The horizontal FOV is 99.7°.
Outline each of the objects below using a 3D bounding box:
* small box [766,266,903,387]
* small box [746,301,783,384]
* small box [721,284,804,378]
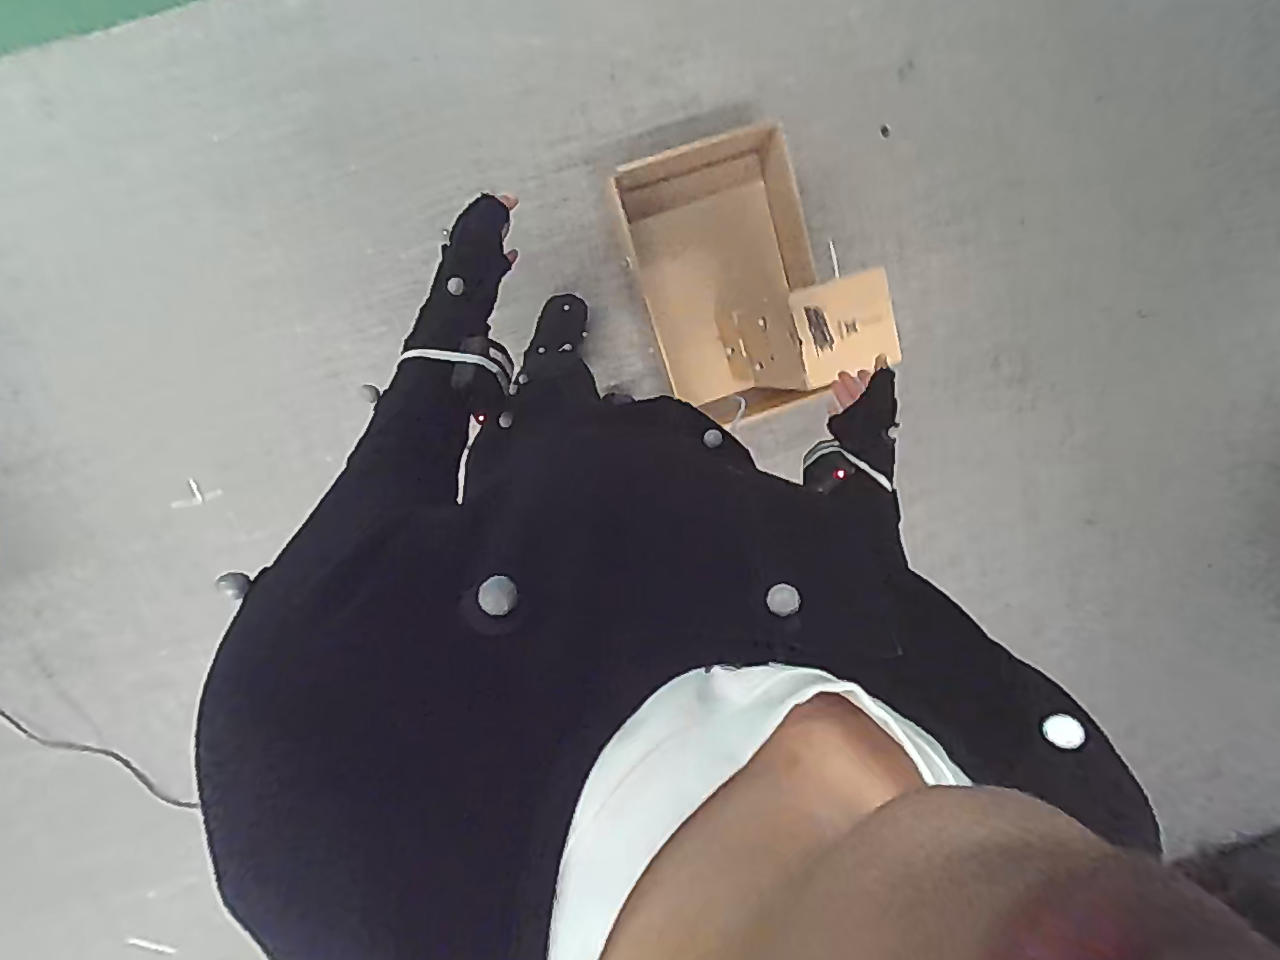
[{"bbox_3d":[0.345,-0.274,0.994,0.179,0.176,0.168,-18,103,-3],"label":"small box"},{"bbox_3d":[0.335,-0.303,1.138,0.179,0.176,0.168,-18,103,-3],"label":"small box"},{"bbox_3d":[0.309,-0.351,1.312,0.179,0.176,0.168,-23,101,-2],"label":"small box"}]
